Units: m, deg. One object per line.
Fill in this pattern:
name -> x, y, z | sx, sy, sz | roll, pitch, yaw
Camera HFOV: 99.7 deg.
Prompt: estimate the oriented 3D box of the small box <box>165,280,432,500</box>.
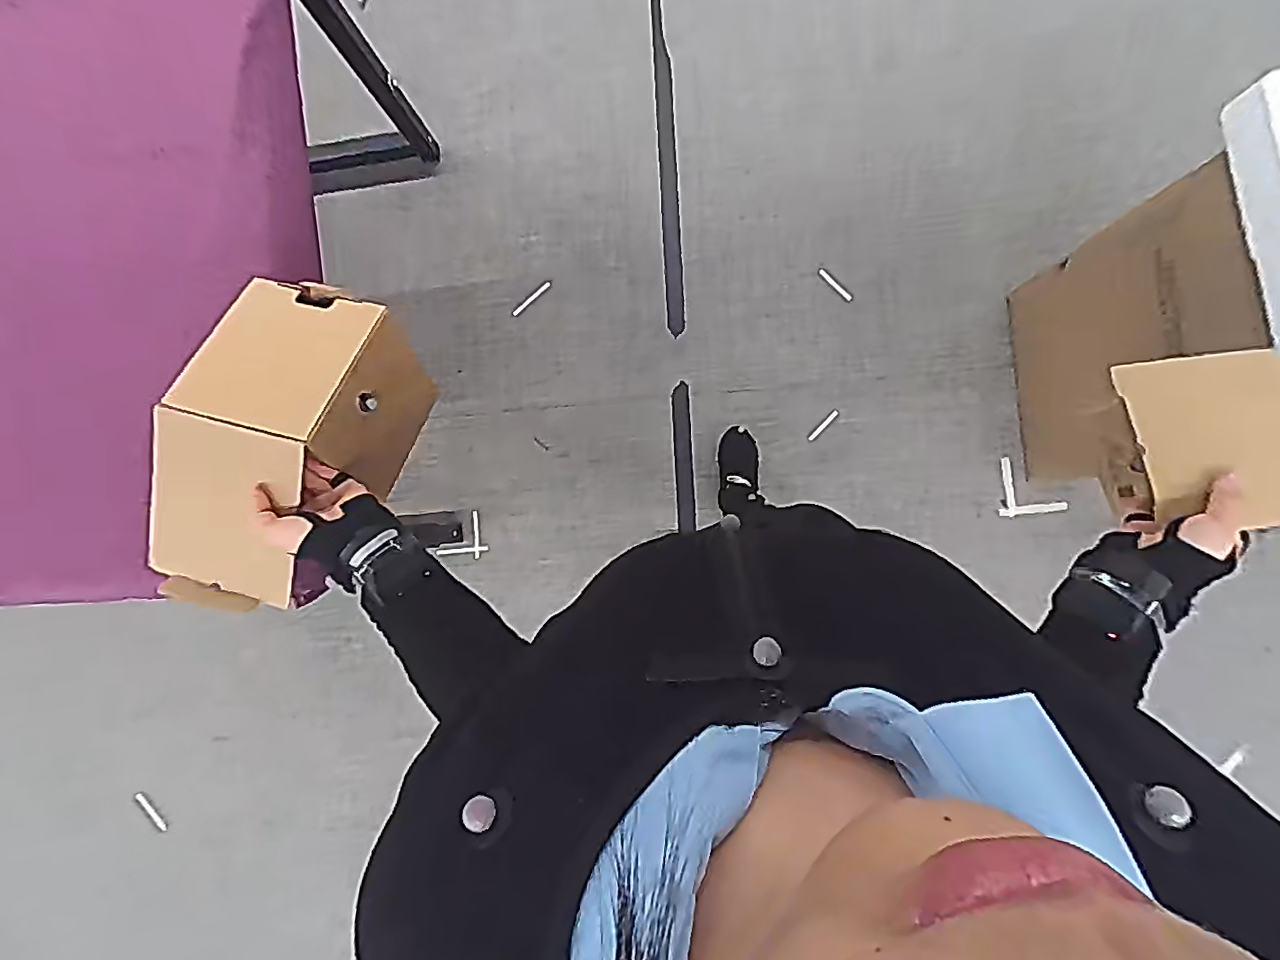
small box -> -0.370, -0.095, 0.631 | 0.168, 0.176, 0.179 | 13, 65, 6
